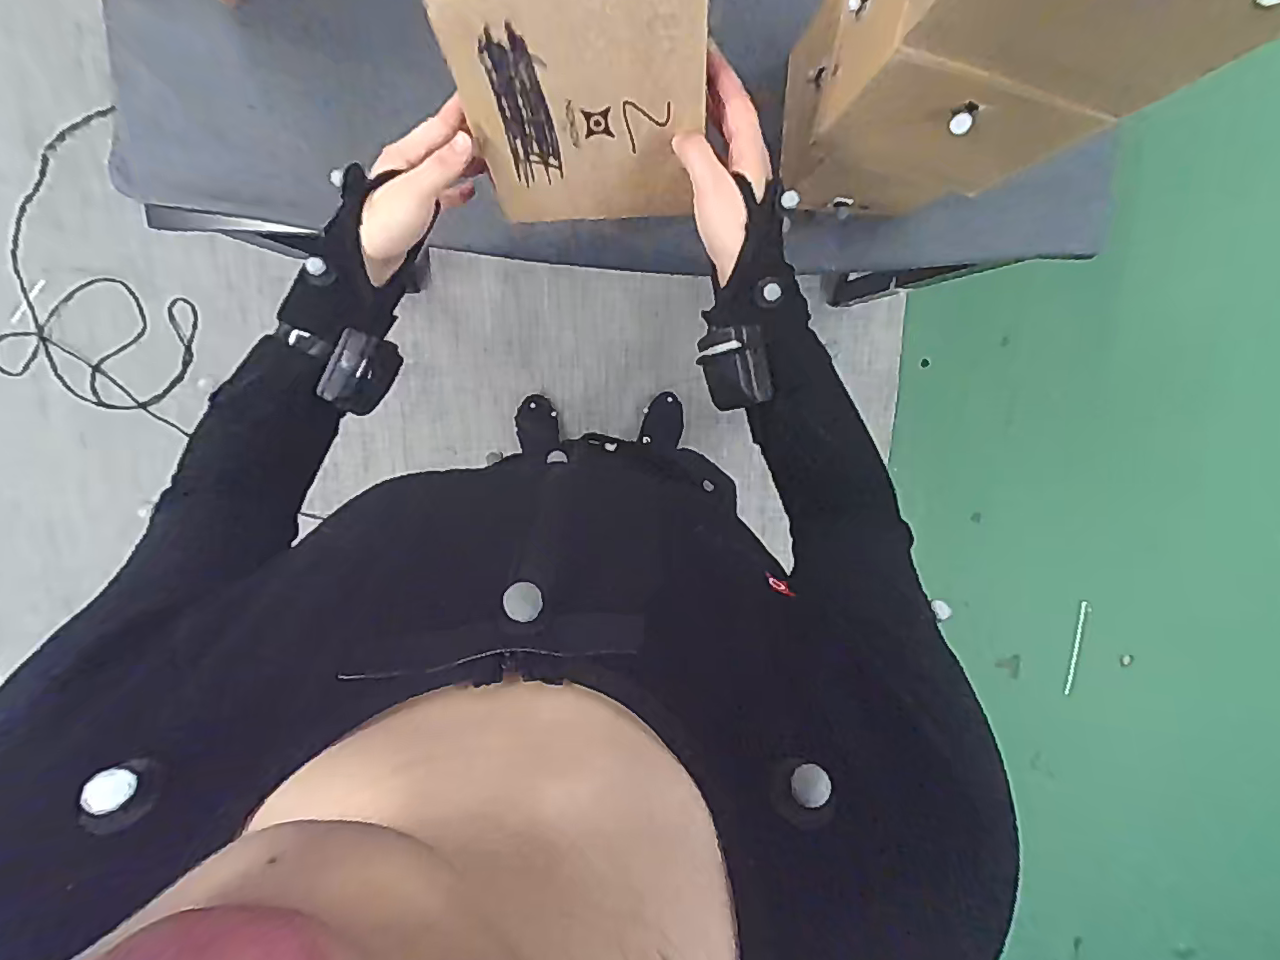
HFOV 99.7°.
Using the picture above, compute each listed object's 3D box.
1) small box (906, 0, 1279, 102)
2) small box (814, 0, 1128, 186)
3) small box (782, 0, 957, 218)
[{"bbox_3d":[0.280,-0.334,0.275,0.179,0.176,0.168,14,100,-4],"label":"small box"},{"bbox_3d":[0.270,-0.363,0.437,0.179,0.176,0.168,13,100,-4],"label":"small box"},{"bbox_3d":[0.263,-0.409,0.593,0.168,0.176,0.179,2,101,-2],"label":"small box"}]
